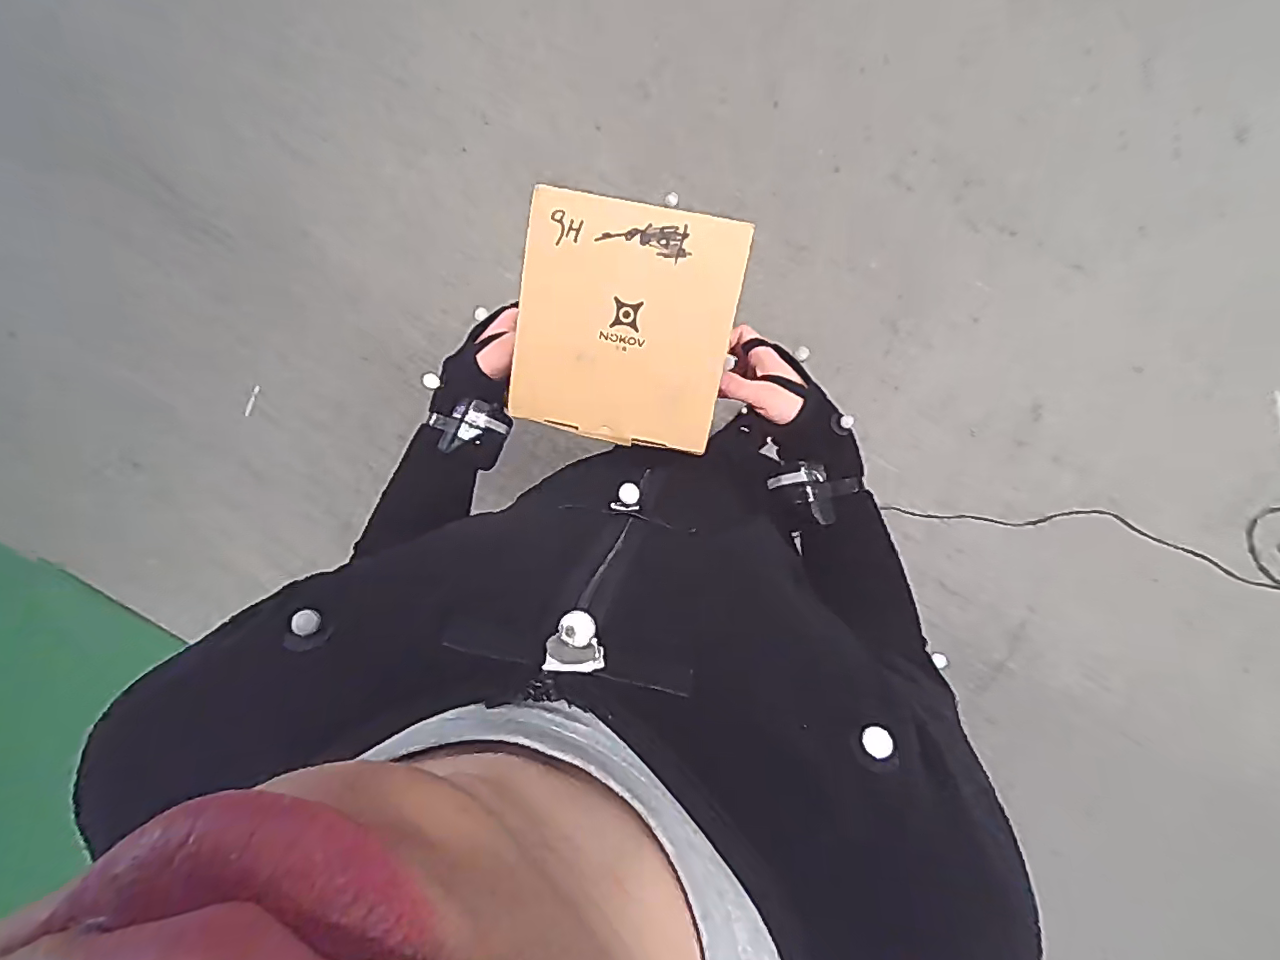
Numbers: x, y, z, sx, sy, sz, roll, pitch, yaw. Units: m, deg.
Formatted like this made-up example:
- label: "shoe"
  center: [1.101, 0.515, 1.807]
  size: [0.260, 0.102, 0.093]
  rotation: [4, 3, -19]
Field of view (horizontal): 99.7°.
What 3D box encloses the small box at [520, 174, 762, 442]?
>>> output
- label: "small box"
  center: [0.001, -0.151, 0.492]
  size: [0.168, 0.176, 0.179]
  rotation: [11, 108, 1]
